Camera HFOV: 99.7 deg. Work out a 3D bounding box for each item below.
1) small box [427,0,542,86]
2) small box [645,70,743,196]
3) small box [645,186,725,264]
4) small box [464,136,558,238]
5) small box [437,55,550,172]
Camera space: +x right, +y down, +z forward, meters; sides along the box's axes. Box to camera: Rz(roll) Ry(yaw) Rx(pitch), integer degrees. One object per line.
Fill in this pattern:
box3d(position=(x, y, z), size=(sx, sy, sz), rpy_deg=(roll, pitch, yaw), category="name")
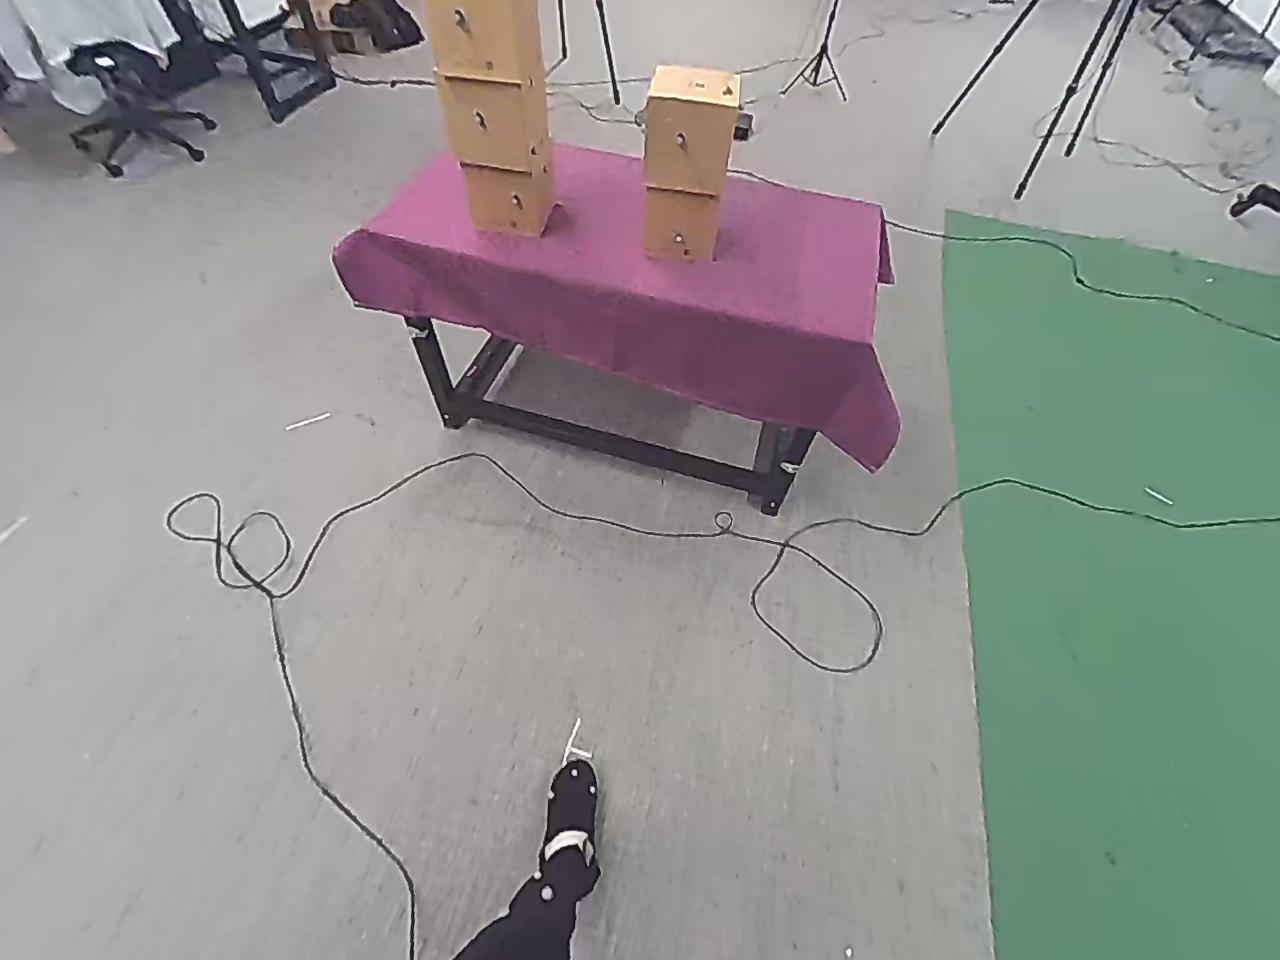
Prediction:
box3d(position=(-0.282, -0.863, 1.004), size=(0.168, 0.176, 0.179), rpy_deg=(7, 54, 0), category="small box")
box3d(position=(0.108, -0.714, 1.117), size=(0.179, 0.176, 0.168), rpy_deg=(9, 55, 3), category="small box")
box3d(position=(0.102, -0.635, 1.262), size=(0.168, 0.176, 0.179), rpy_deg=(5, 54, 0), category="small box")
box3d(position=(-0.297, -0.705, 1.291), size=(0.168, 0.176, 0.179), rpy_deg=(10, 54, 3), category="small box")
box3d(position=(-0.297, -0.780, 1.143), size=(0.179, 0.176, 0.168), rpy_deg=(10, 55, 3), category="small box")
